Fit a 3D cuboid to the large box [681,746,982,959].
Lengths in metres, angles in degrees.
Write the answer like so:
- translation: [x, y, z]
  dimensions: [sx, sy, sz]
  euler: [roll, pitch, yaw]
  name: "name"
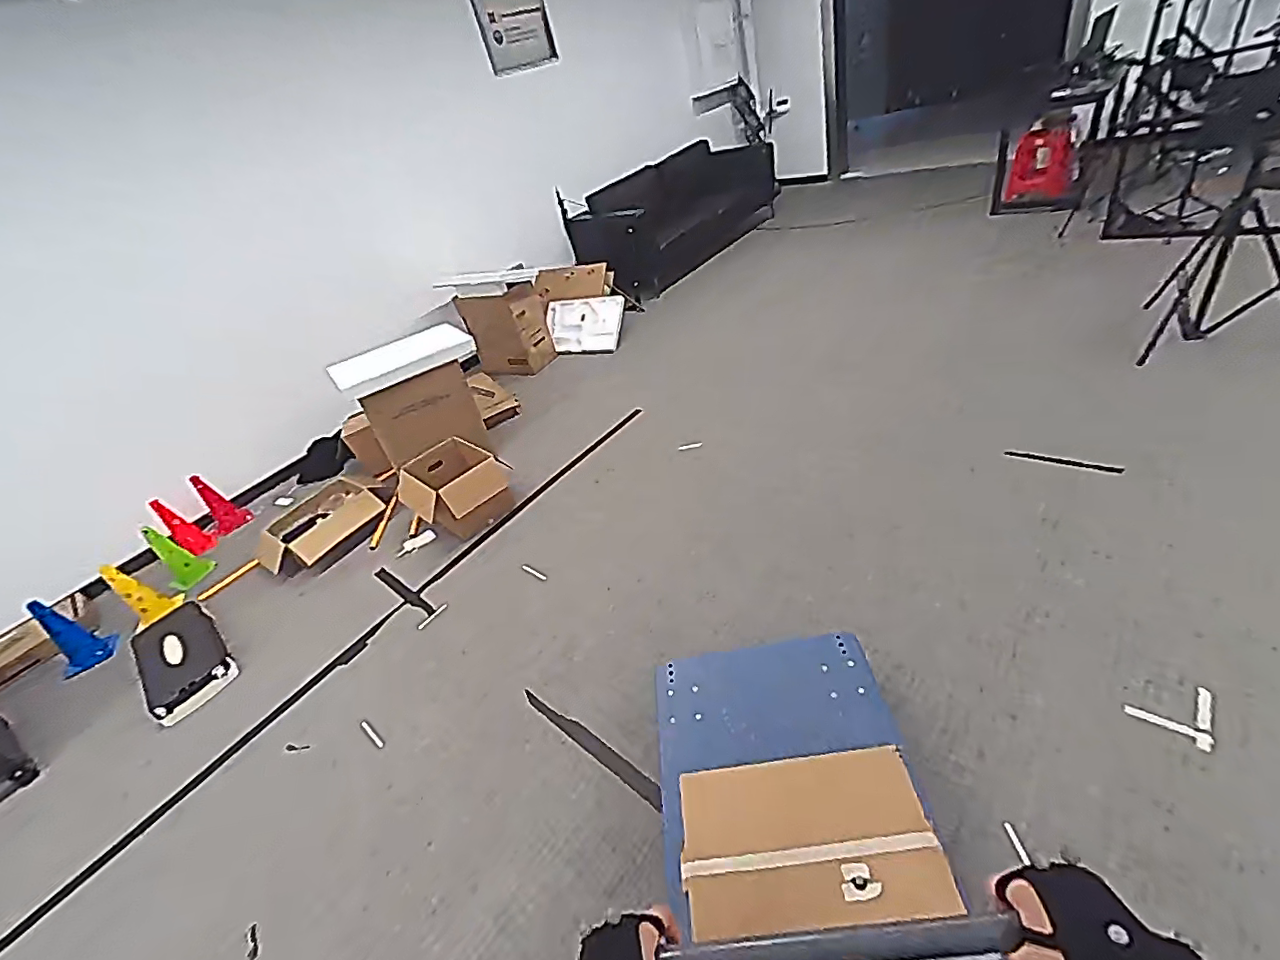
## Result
- translation: [0.307, 0.732, 0.970]
  dimensions: [0.408, 0.320, 0.320]
  euler: [-11, 36, 6]
  name: "large box"
